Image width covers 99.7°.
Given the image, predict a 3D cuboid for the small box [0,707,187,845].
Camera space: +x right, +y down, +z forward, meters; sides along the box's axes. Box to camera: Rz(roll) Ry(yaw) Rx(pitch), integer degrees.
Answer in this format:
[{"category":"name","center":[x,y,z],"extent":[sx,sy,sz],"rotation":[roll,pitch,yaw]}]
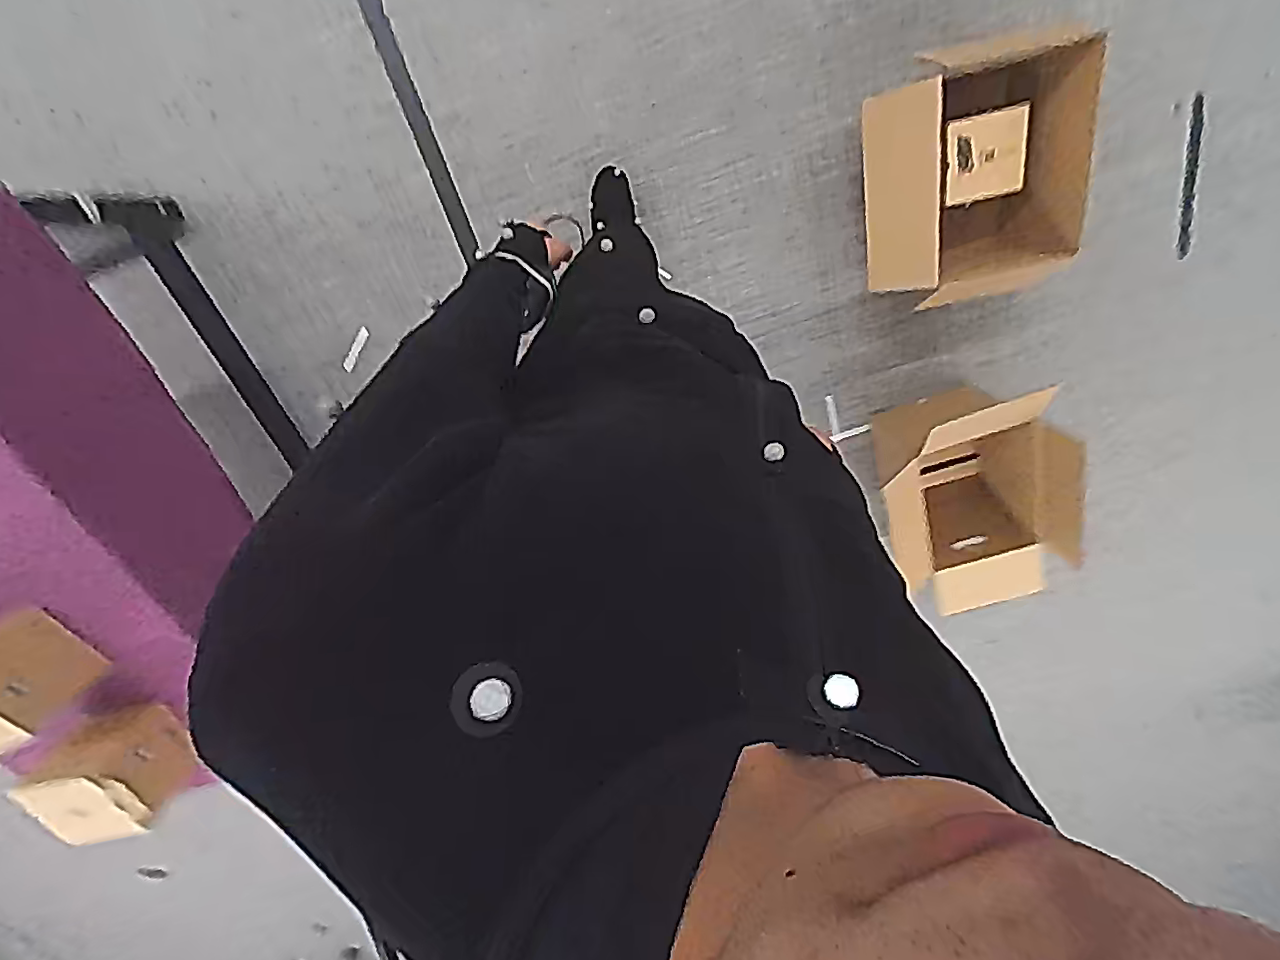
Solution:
[{"category":"small box","center":[-1.050,0.573,1.063],"extent":[0.179,0.176,0.168],"rotation":[-12,116,4]}]

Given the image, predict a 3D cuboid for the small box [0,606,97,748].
[{"category":"small box","center":[-1.140,0.356,0.949],"extent":[0.168,0.176,0.179],"rotation":[-25,114,10]}]
